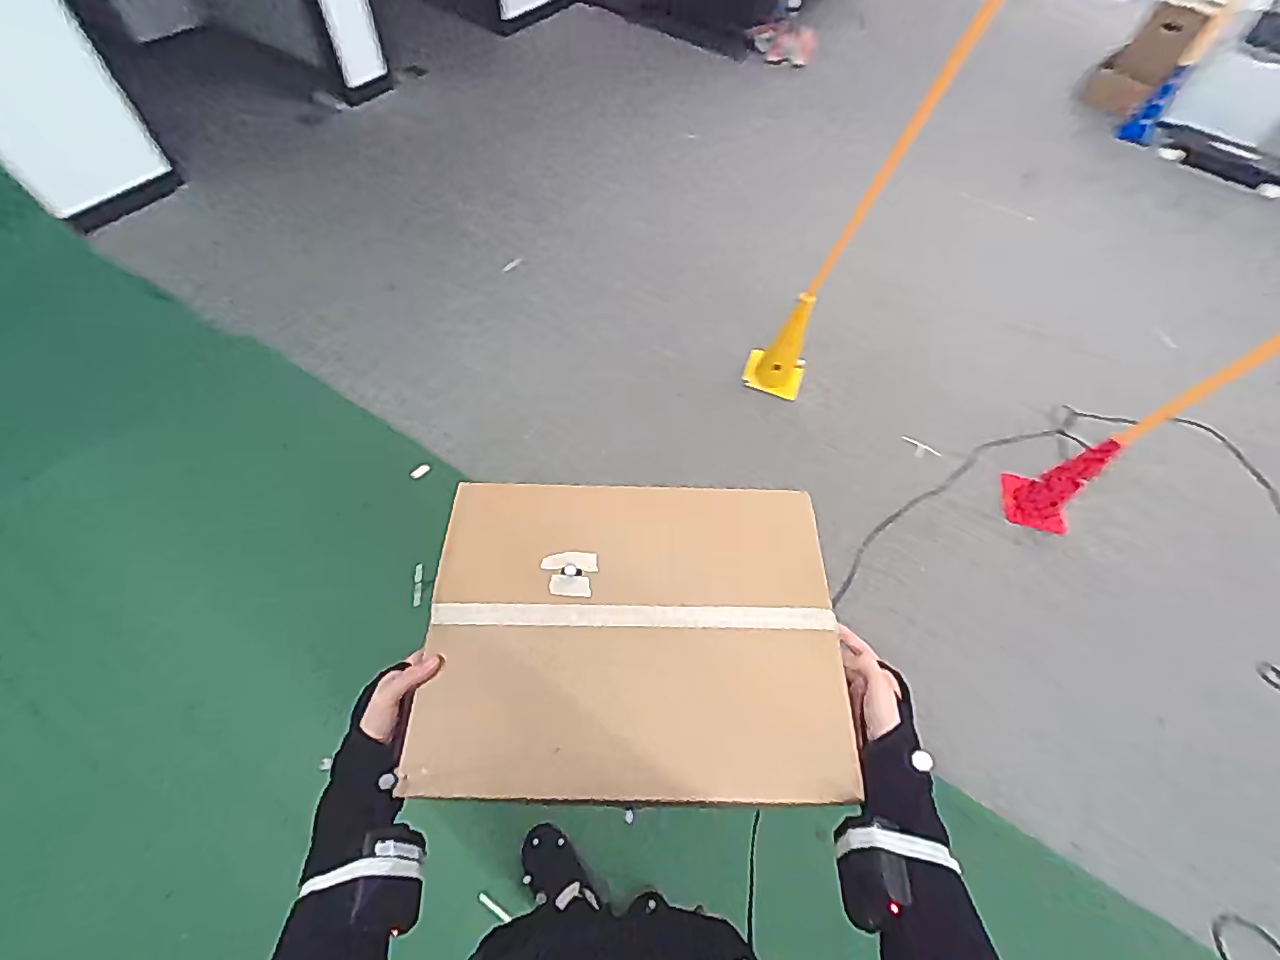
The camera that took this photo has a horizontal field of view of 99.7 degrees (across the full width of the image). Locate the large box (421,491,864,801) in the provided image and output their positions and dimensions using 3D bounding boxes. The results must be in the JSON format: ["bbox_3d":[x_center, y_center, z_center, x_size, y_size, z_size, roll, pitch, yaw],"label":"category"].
[{"bbox_3d":[0.006,0.223,0.684,0.408,0.320,0.320,1,58,1],"label":"large box"}]
